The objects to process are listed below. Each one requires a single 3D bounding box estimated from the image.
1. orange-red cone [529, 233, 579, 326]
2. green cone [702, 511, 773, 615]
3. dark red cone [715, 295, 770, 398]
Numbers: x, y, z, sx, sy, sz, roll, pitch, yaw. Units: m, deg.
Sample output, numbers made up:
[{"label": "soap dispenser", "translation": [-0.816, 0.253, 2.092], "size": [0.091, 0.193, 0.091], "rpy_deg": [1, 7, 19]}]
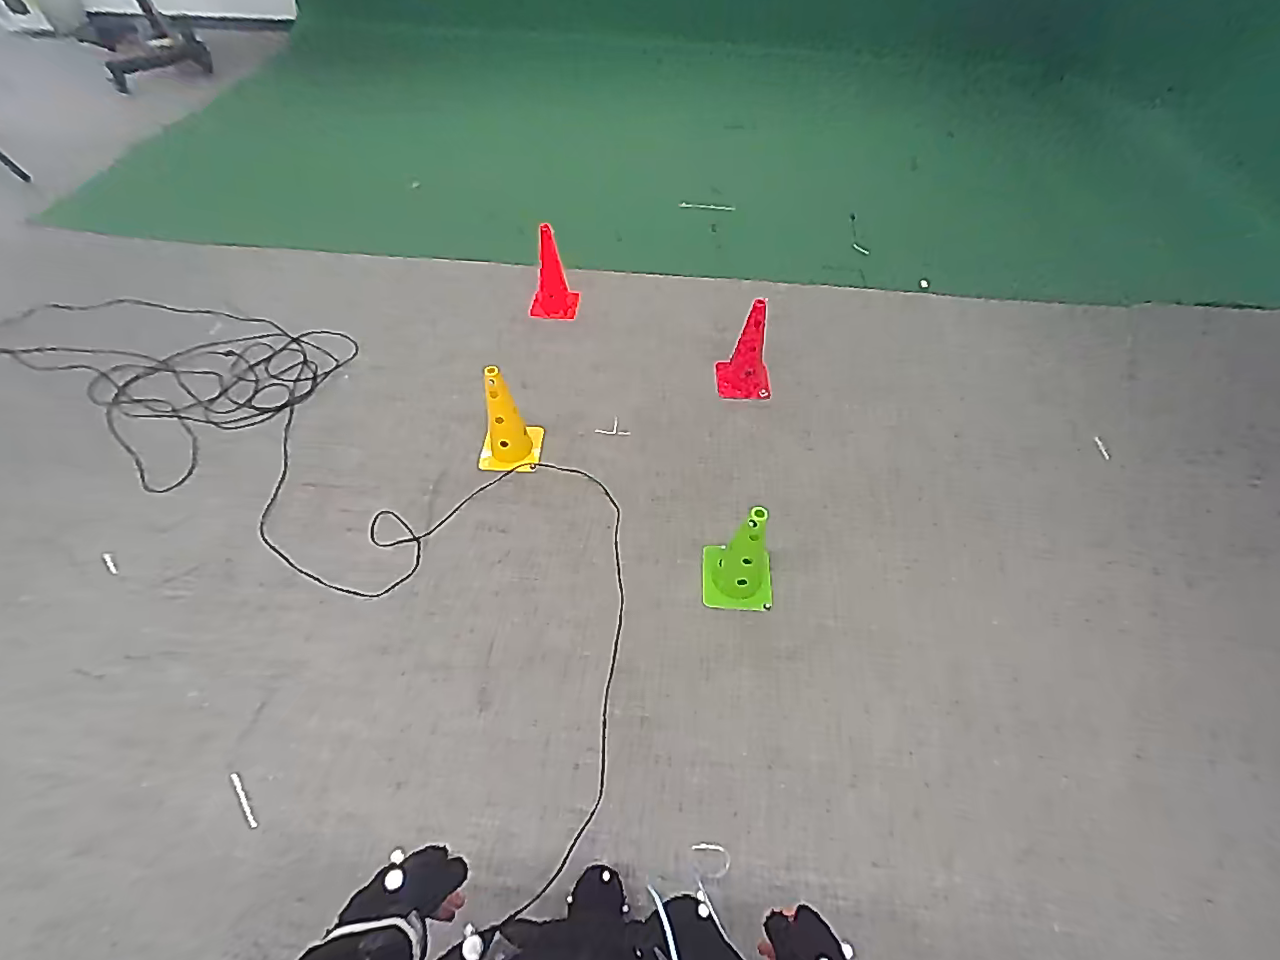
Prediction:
[{"label": "orange-red cone", "translation": [-0.374, -0.842, 2.235], "size": [0.198, 0.360, 0.199], "rpy_deg": [4, 54, 3]}, {"label": "green cone", "translation": [0.285, 0.197, 1.461], "size": [0.202, 0.368, 0.200], "rpy_deg": [3, 52, 2]}, {"label": "dark red cone", "translation": [0.394, -0.485, 1.951], "size": [0.202, 0.394, 0.201], "rpy_deg": [0, 51, -1]}]
